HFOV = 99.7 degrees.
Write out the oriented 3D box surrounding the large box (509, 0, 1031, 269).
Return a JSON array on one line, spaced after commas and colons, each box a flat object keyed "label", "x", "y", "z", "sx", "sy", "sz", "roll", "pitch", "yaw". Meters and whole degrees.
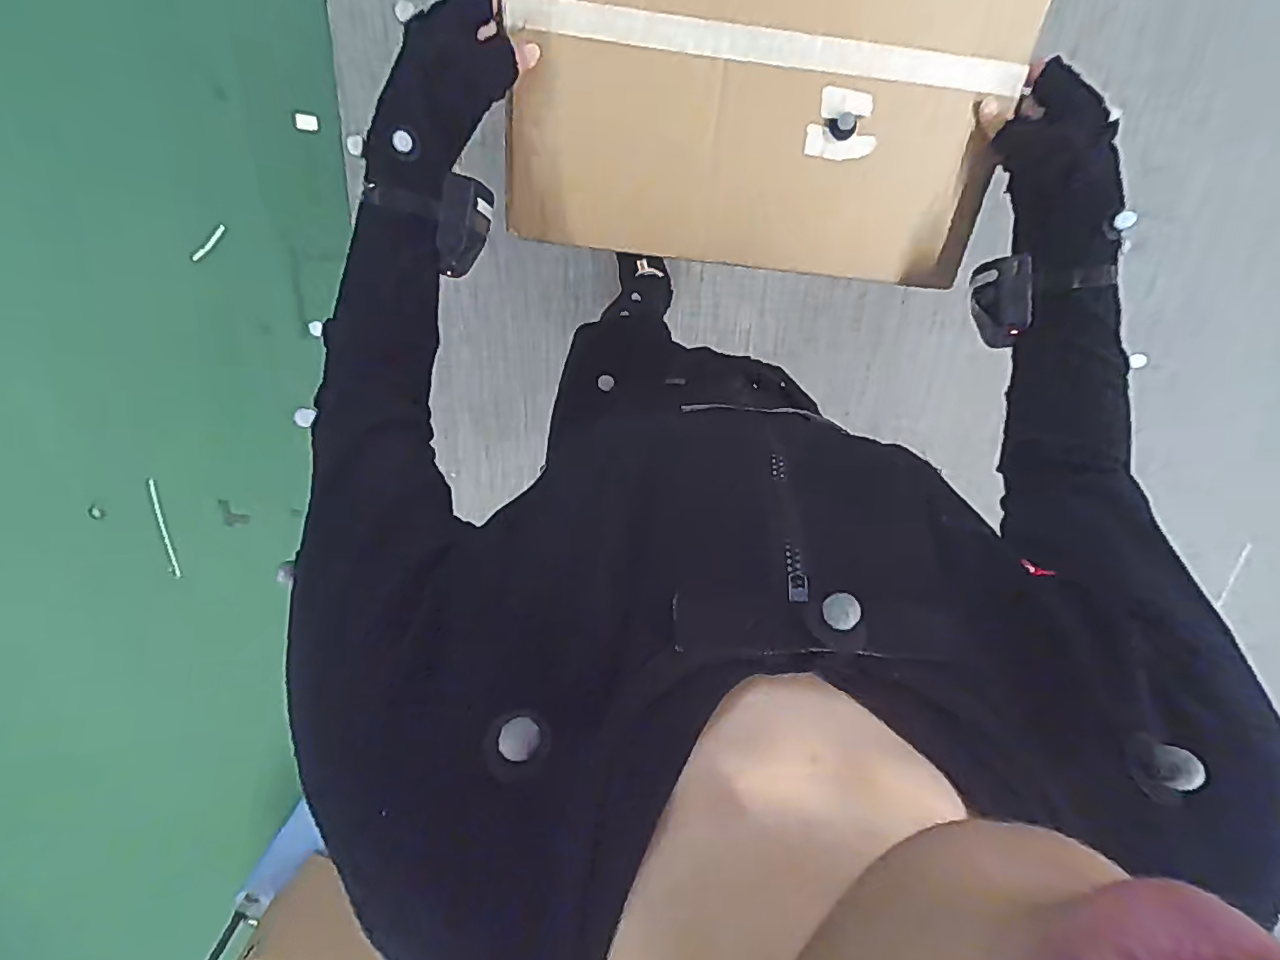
[{"label": "large box", "x": 0.090, "y": -0.409, "z": 0.553, "sx": 0.408, "sy": 0.320, "sz": 0.320, "roll": 4, "pitch": 117, "yaw": -5}]
